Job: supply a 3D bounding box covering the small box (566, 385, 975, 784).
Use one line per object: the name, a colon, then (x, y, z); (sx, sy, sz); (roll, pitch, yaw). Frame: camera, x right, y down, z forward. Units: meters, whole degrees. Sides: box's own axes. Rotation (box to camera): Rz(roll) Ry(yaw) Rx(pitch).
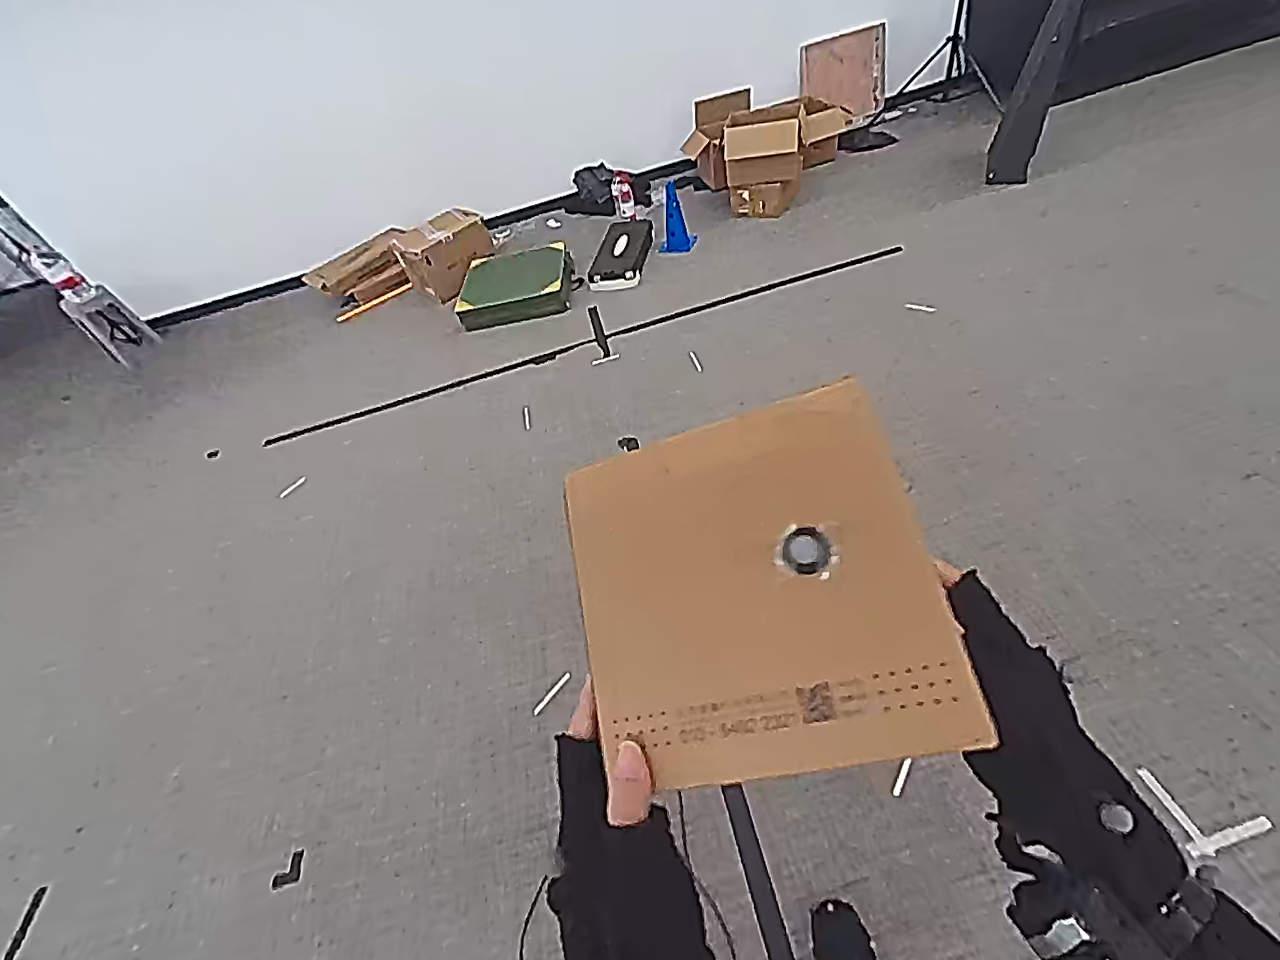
small box: (0.080, 0.073, 0.331); (0.168, 0.179, 0.176); (-19, 70, 20)
